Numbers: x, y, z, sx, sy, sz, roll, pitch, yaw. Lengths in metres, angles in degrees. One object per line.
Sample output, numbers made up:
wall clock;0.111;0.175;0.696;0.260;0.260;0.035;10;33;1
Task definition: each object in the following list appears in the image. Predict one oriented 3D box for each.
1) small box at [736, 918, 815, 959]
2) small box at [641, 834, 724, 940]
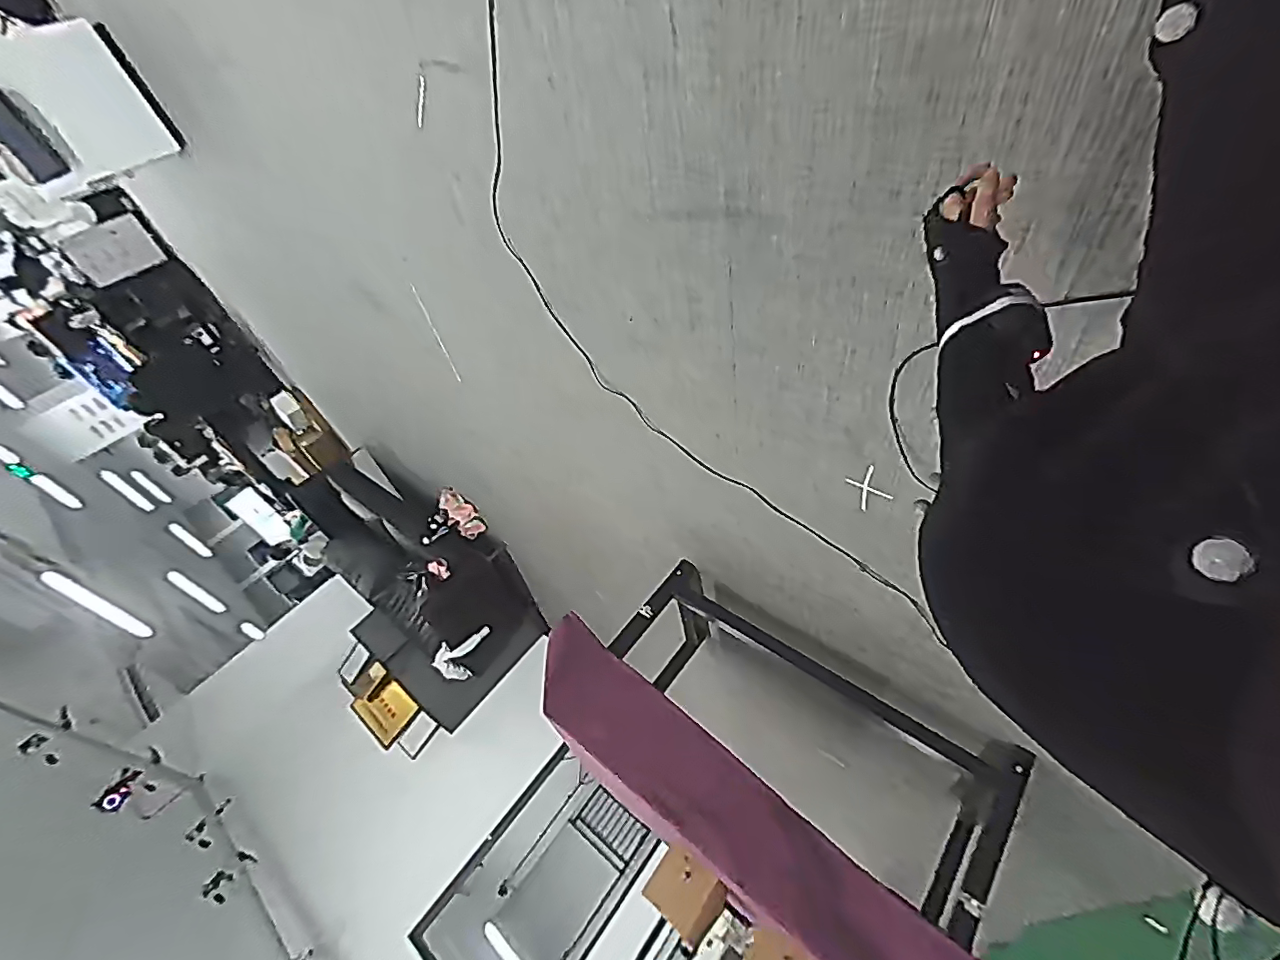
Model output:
small box;0.357;1.304;1.430;0.179;0.176;0.168;25;147;34
small box;0.133;1.198;1.597;0.168;0.176;0.179;21;144;38
